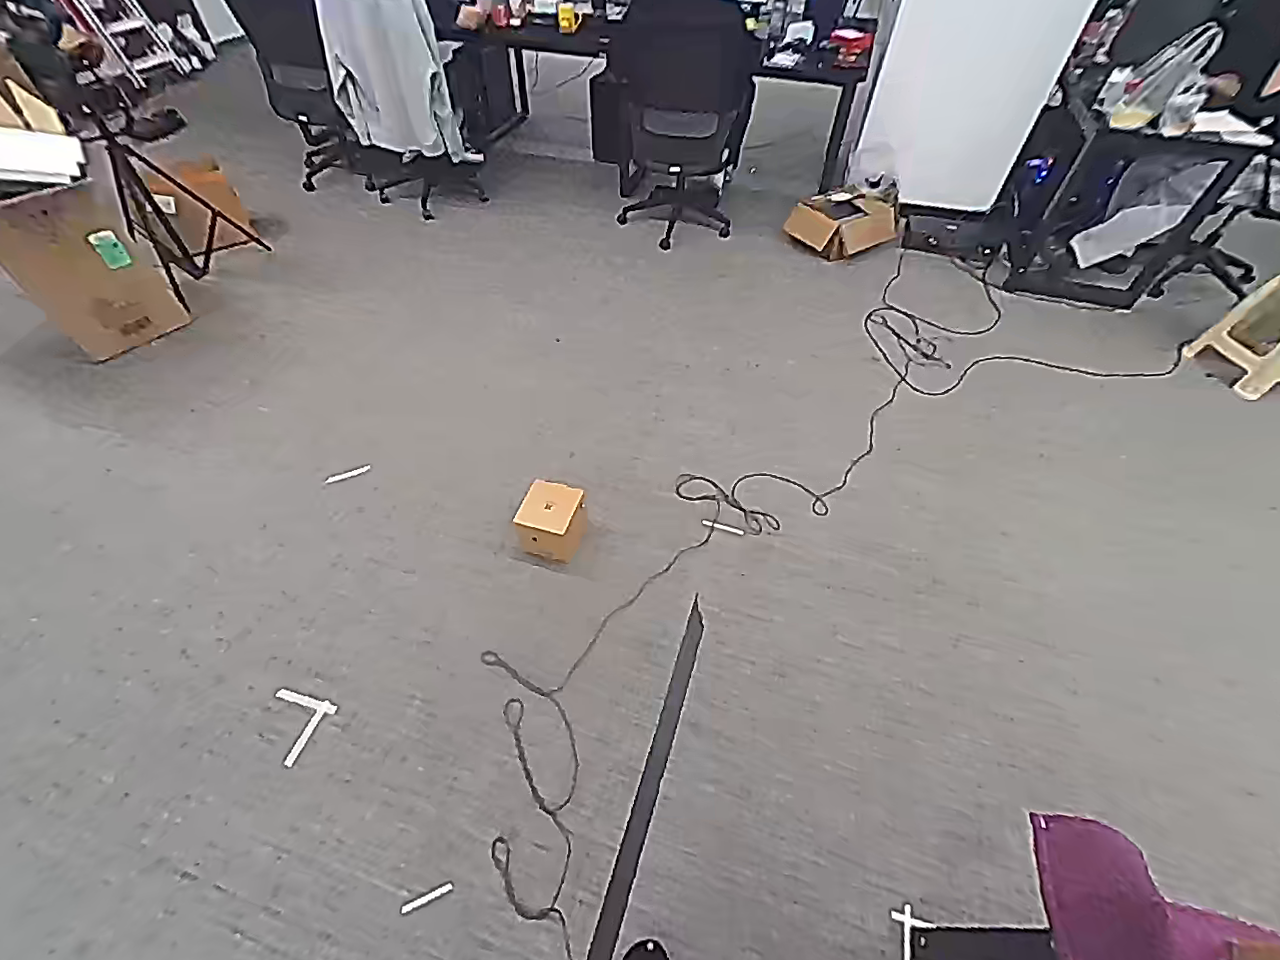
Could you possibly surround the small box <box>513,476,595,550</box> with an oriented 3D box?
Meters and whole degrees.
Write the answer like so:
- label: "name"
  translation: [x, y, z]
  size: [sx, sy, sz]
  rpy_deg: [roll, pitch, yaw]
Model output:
- label: "small box"
  translation: [-0.263, 0.098, 1.672]
  size: [0.179, 0.176, 0.168]
  rpy_deg: [-4, 29, 20]
